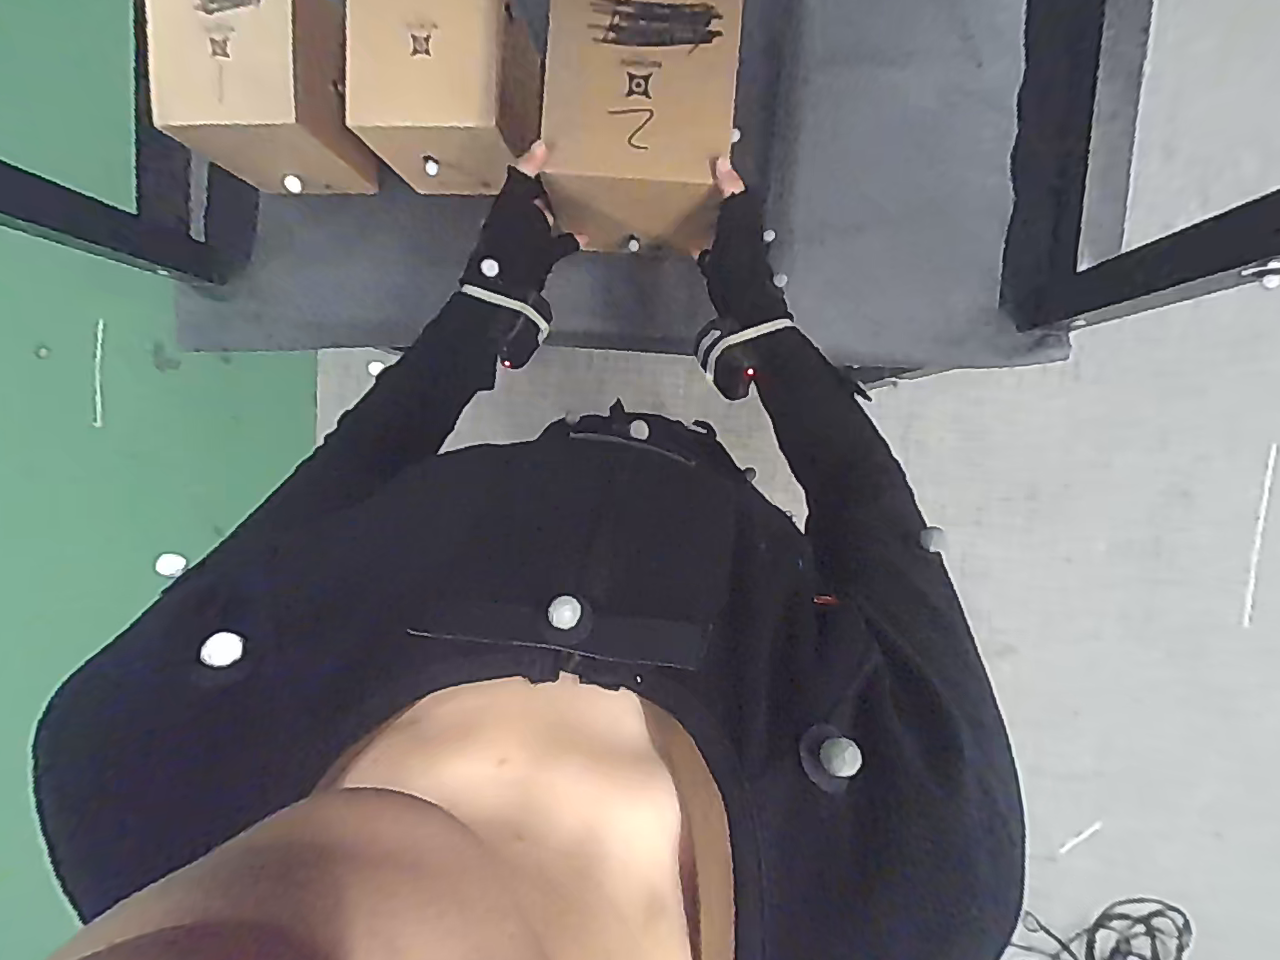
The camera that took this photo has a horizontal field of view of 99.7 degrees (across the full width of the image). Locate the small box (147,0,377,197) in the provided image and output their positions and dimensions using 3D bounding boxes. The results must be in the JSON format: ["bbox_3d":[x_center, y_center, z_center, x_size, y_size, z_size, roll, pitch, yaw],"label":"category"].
[{"bbox_3d":[-0.441,-0.472,0.656,0.168,0.176,0.179,2,94,4],"label":"small box"}]
